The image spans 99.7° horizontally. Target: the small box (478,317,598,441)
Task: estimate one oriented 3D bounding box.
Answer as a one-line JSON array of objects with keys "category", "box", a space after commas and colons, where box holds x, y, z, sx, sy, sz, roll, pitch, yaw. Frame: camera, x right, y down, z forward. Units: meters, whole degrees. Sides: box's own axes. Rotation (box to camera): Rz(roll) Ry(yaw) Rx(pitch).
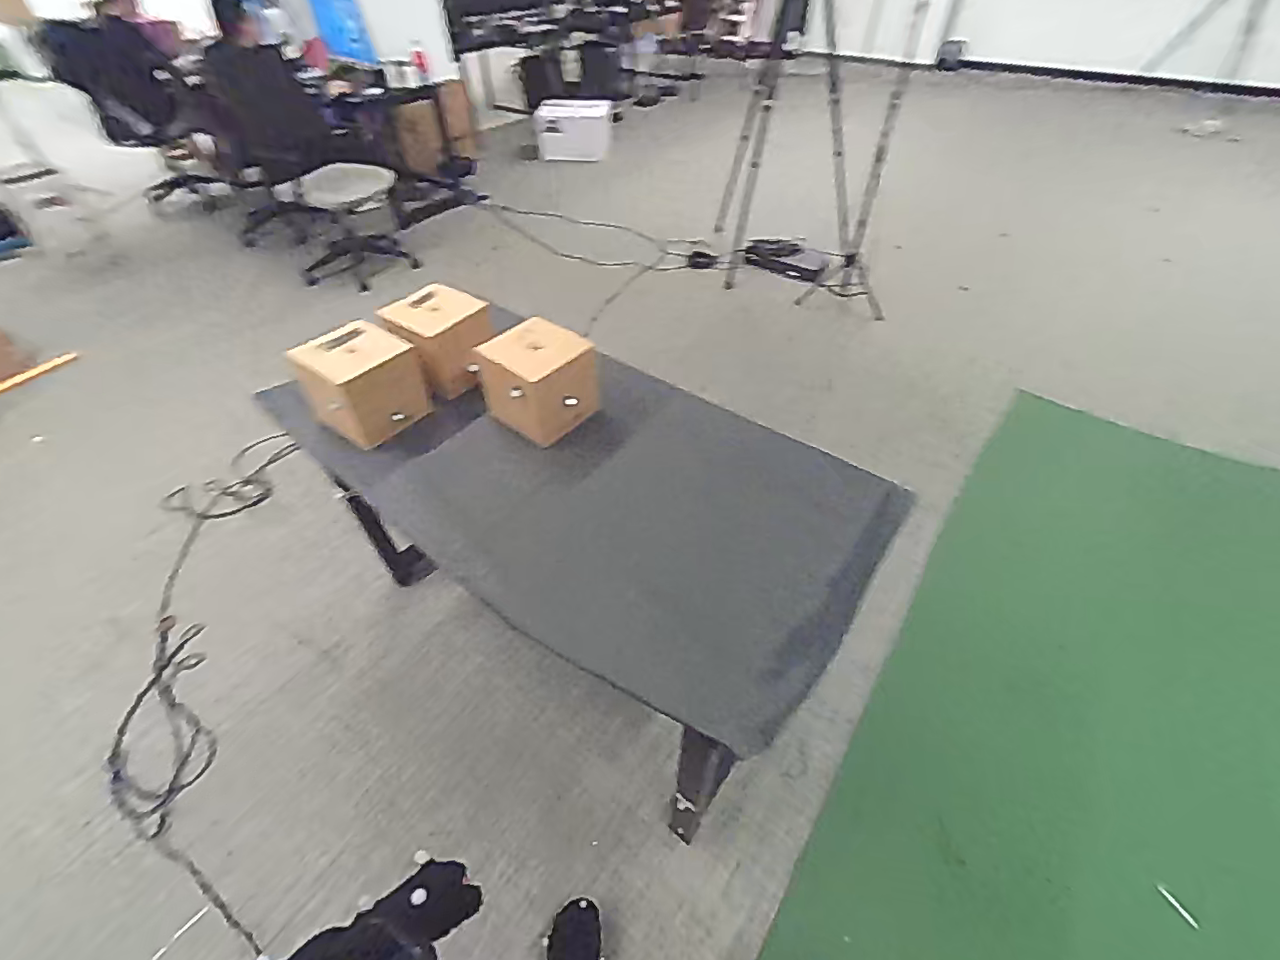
[{"category": "small box", "box": [-0.202, -0.204, 1.124, 0.179, 0.176, 0.168, 32, 54, 27]}]
